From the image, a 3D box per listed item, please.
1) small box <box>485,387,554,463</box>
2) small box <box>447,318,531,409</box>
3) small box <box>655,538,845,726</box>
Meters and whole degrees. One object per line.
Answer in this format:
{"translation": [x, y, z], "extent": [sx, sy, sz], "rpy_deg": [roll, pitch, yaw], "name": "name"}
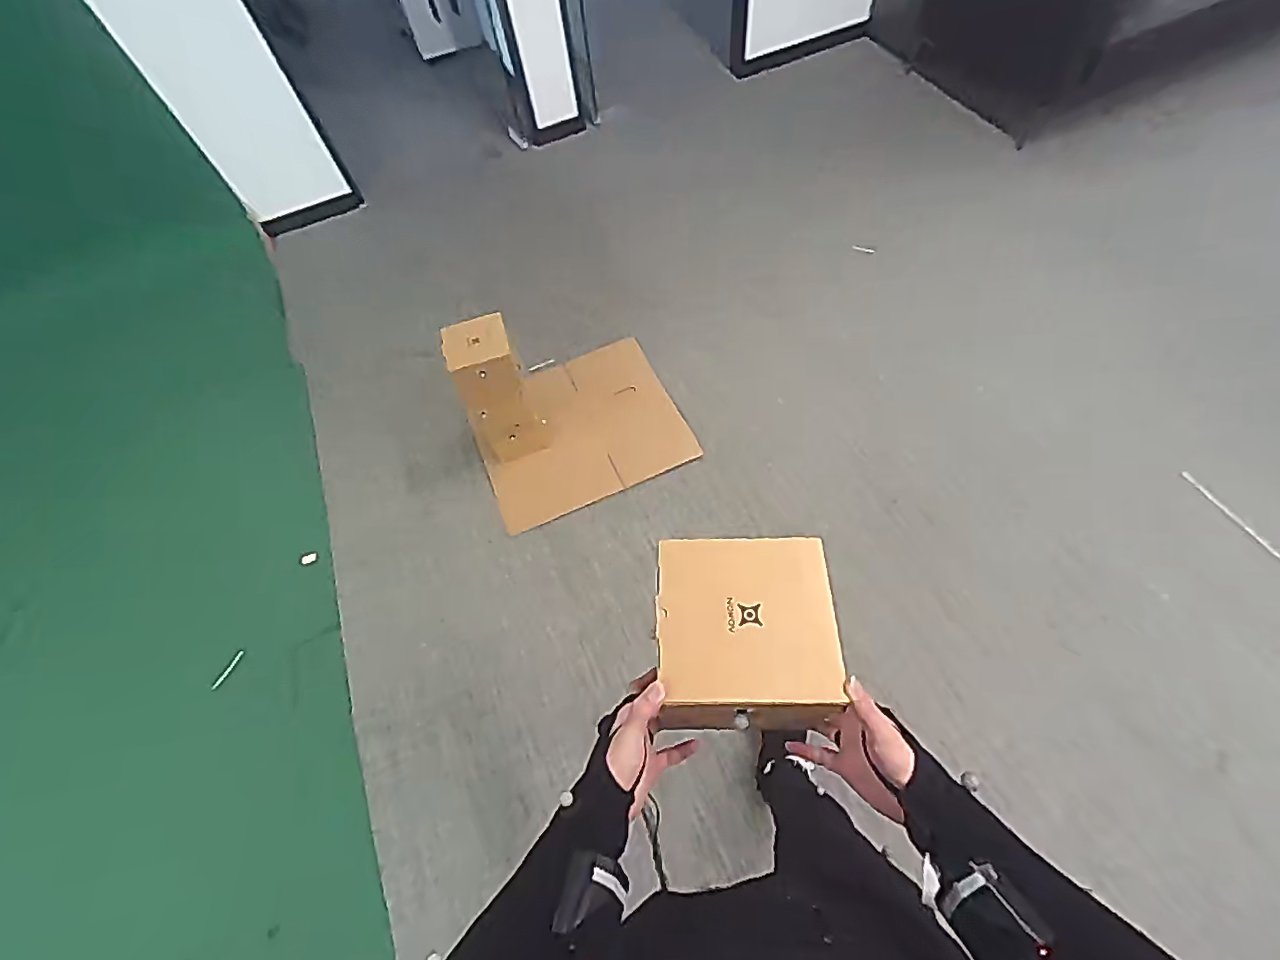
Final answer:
{"translation": [-0.410, -0.183, 1.851], "extent": [0.179, 0.176, 0.168], "rpy_deg": [-19, 61, -5], "name": "small box"}
{"translation": [-0.432, -0.330, 1.558], "extent": [0.179, 0.176, 0.168], "rpy_deg": [-17, 61, -4], "name": "small box"}
{"translation": [0.109, 0.175, 0.606], "extent": [0.179, 0.176, 0.168], "rpy_deg": [-3, 58, 5], "name": "small box"}
